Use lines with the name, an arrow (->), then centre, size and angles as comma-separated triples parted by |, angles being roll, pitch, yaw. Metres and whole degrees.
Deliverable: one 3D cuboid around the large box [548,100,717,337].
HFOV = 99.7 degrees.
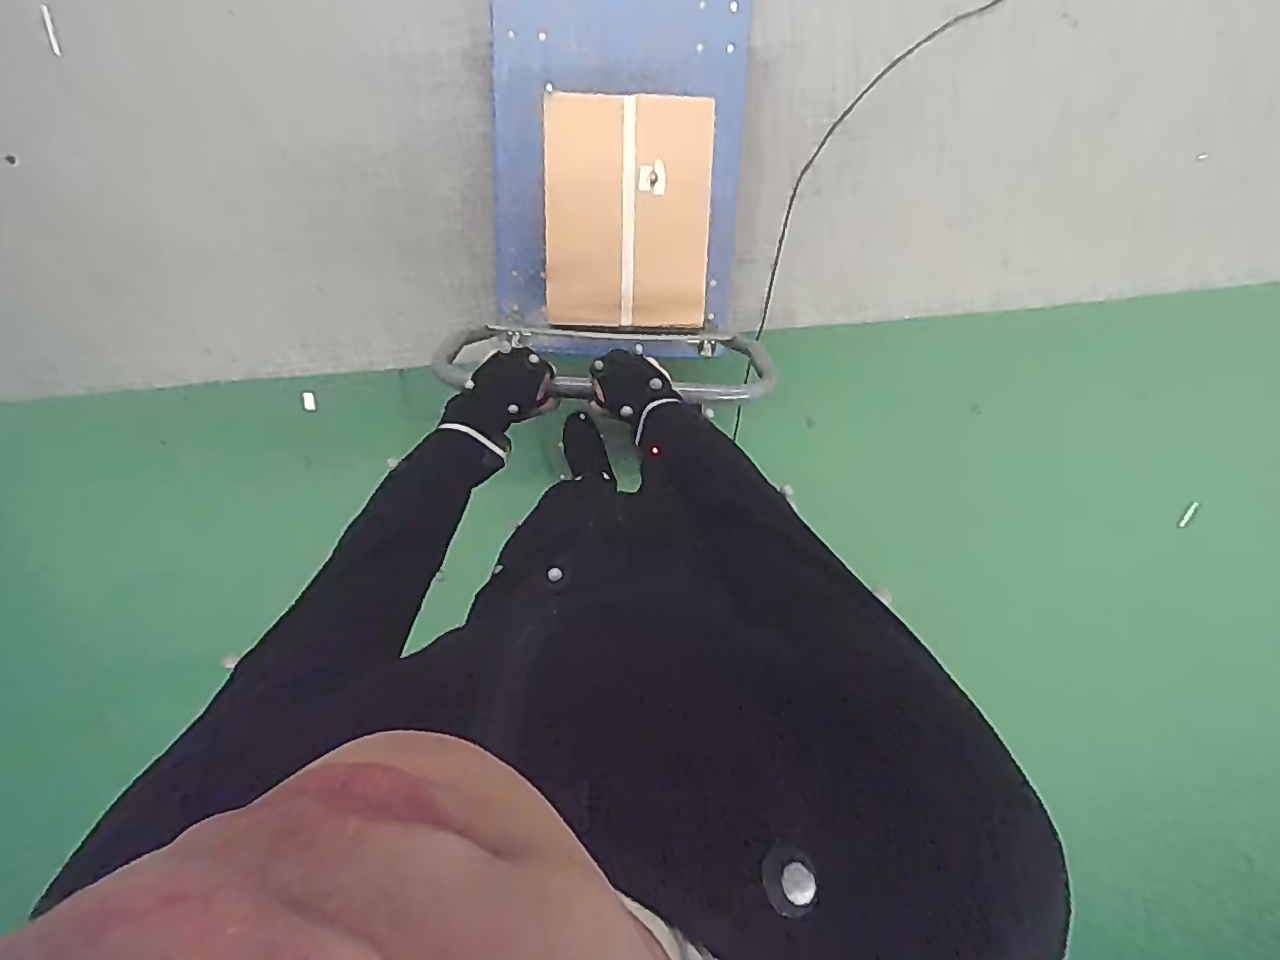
large box -> -0.017, -0.520, 1.164 | 0.320, 0.320, 0.408 | 1, 103, -2
